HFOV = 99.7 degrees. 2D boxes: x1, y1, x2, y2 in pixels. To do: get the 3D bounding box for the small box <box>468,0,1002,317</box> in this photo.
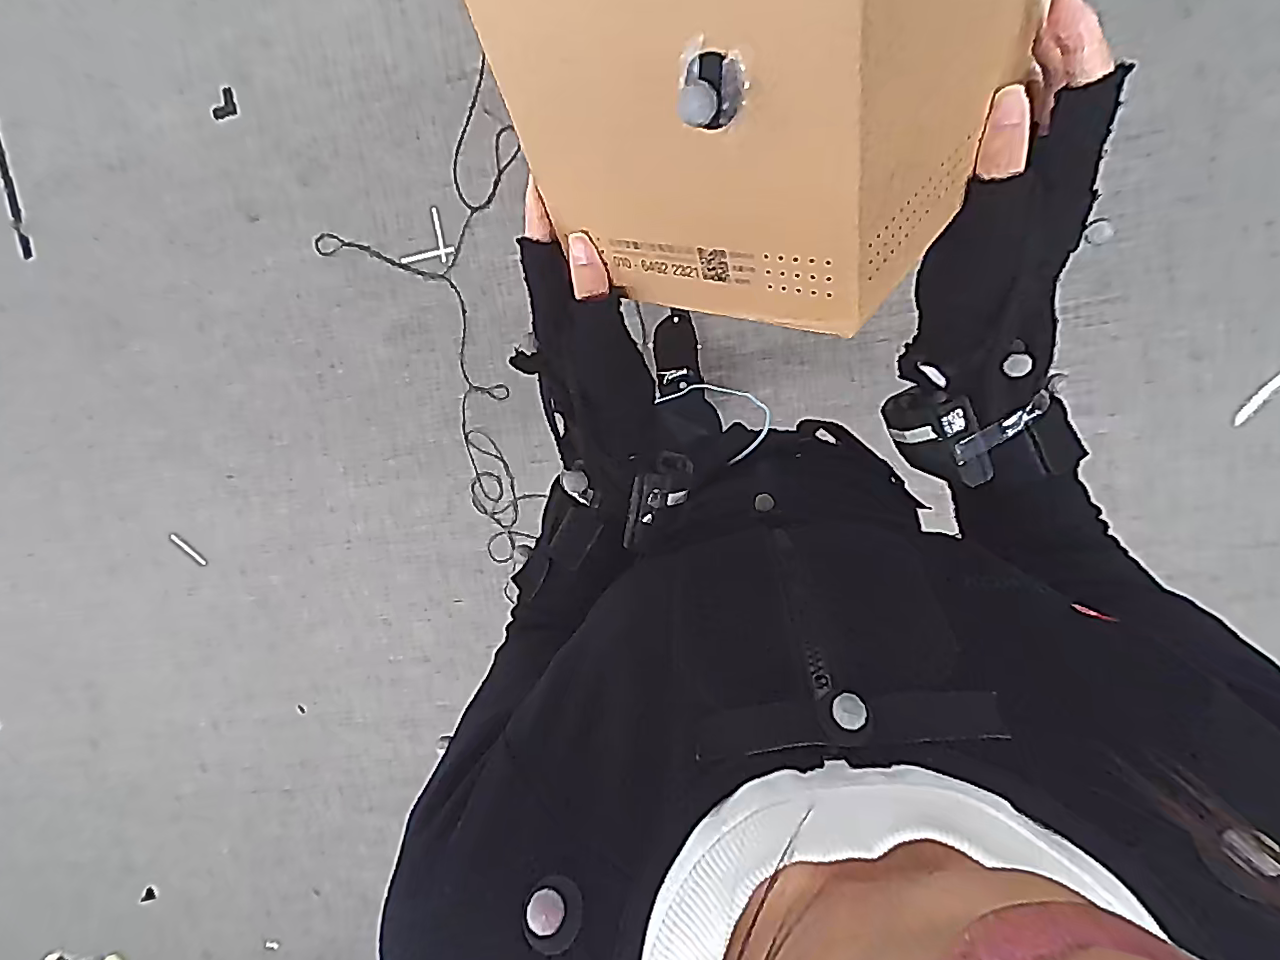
[{"bbox_3d":[0.054,-0.200,0.253,0.168,0.176,0.179,26,62,38],"label":"small box"}]
